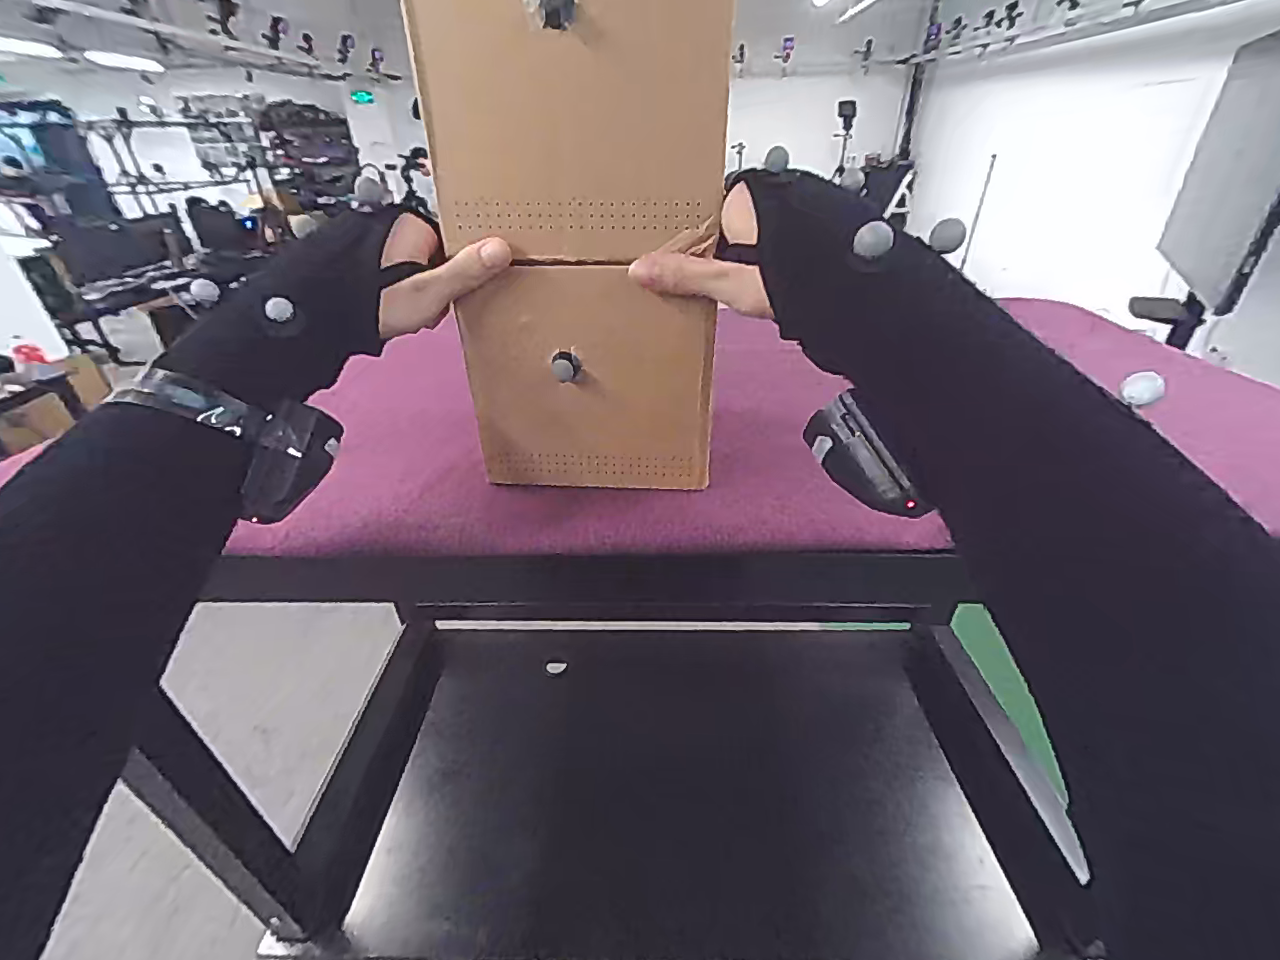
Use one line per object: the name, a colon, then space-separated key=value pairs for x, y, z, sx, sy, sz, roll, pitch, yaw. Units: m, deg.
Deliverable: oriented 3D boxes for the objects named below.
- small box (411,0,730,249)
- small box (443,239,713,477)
small box: x=-0.032 y=-0.253 z=0.358 sx=0.179 sy=0.176 sz=0.168 roll=3 pitch=32 yaw=6
small box: x=-0.030 y=-0.113 z=0.443 sx=0.179 sy=0.176 sz=0.168 roll=1 pitch=32 yaw=5
